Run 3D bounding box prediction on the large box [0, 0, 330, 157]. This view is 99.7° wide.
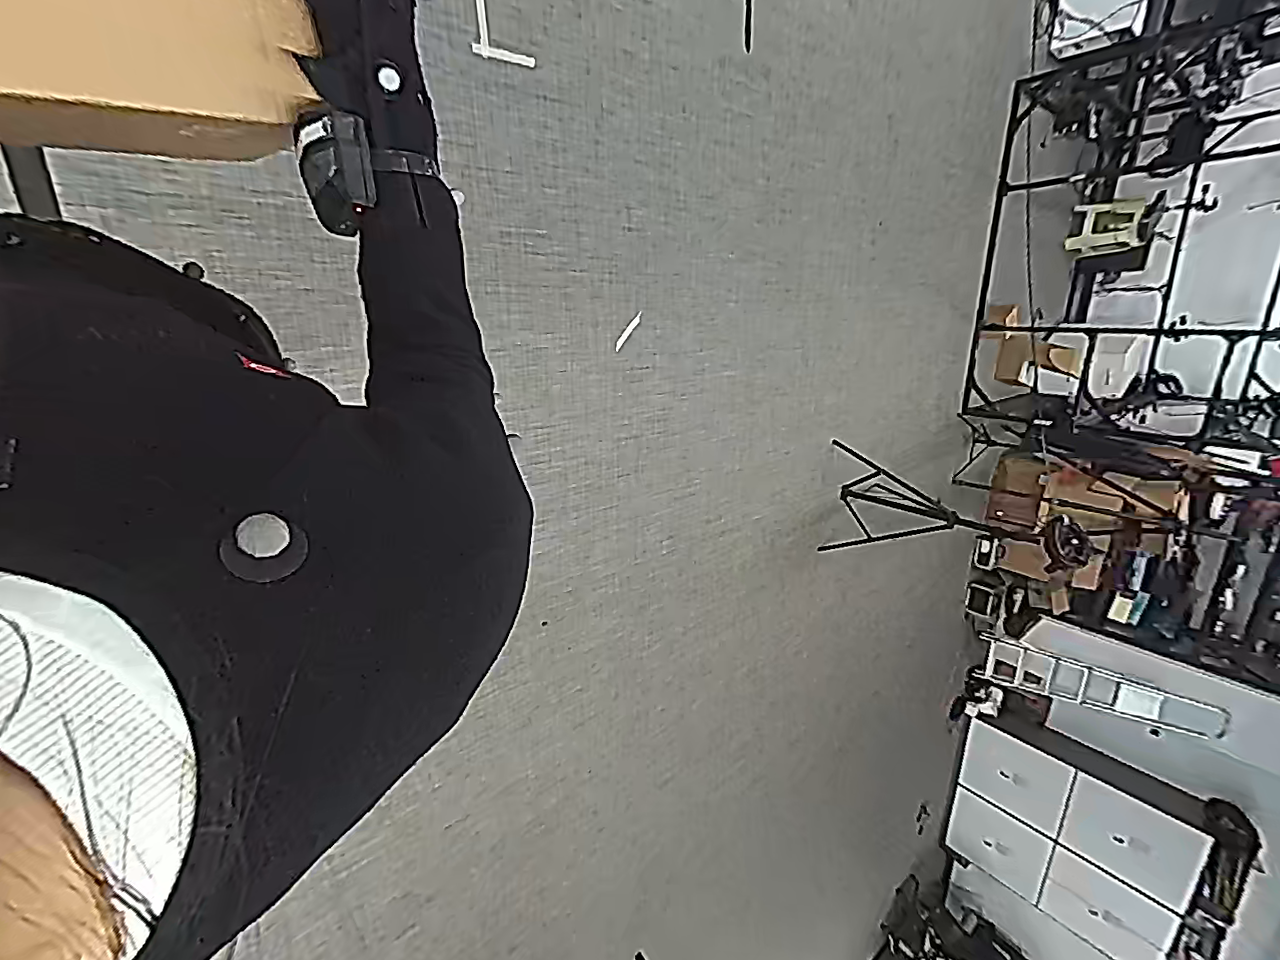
[{"bbox_3d":[-0.468,-0.381,0.301,0.408,0.320,0.320,-21,124,-38],"label":"large box"}]
